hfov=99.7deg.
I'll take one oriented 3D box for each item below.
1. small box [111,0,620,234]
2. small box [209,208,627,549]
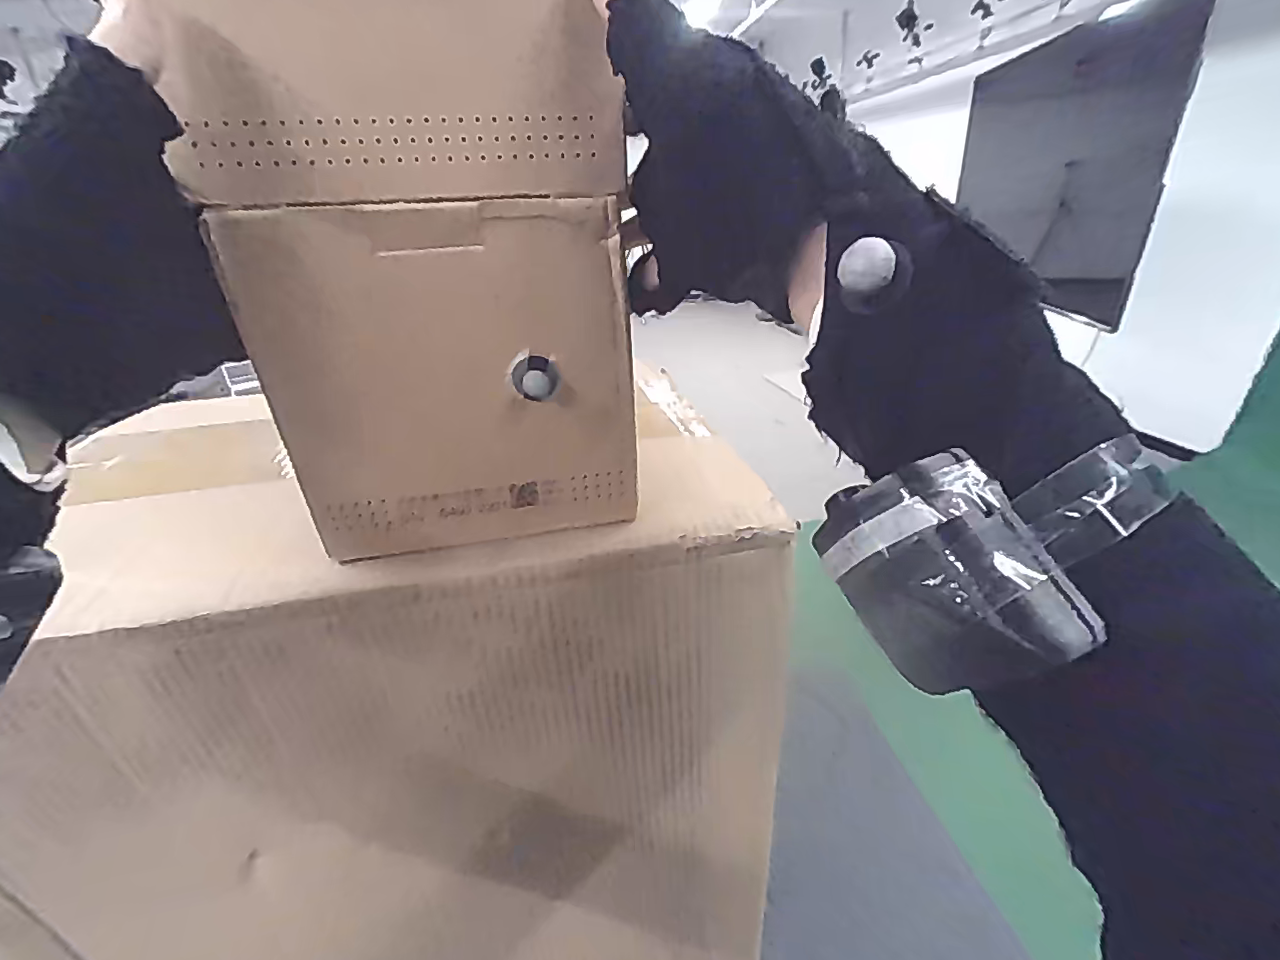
[{"bbox_3d":[-0.107,-0.213,0.253,0.179,0.176,0.168,-7,30,-12],"label":"small box"},{"bbox_3d":[-0.103,-0.069,0.333,0.168,0.176,0.179,-7,28,-9],"label":"small box"}]
